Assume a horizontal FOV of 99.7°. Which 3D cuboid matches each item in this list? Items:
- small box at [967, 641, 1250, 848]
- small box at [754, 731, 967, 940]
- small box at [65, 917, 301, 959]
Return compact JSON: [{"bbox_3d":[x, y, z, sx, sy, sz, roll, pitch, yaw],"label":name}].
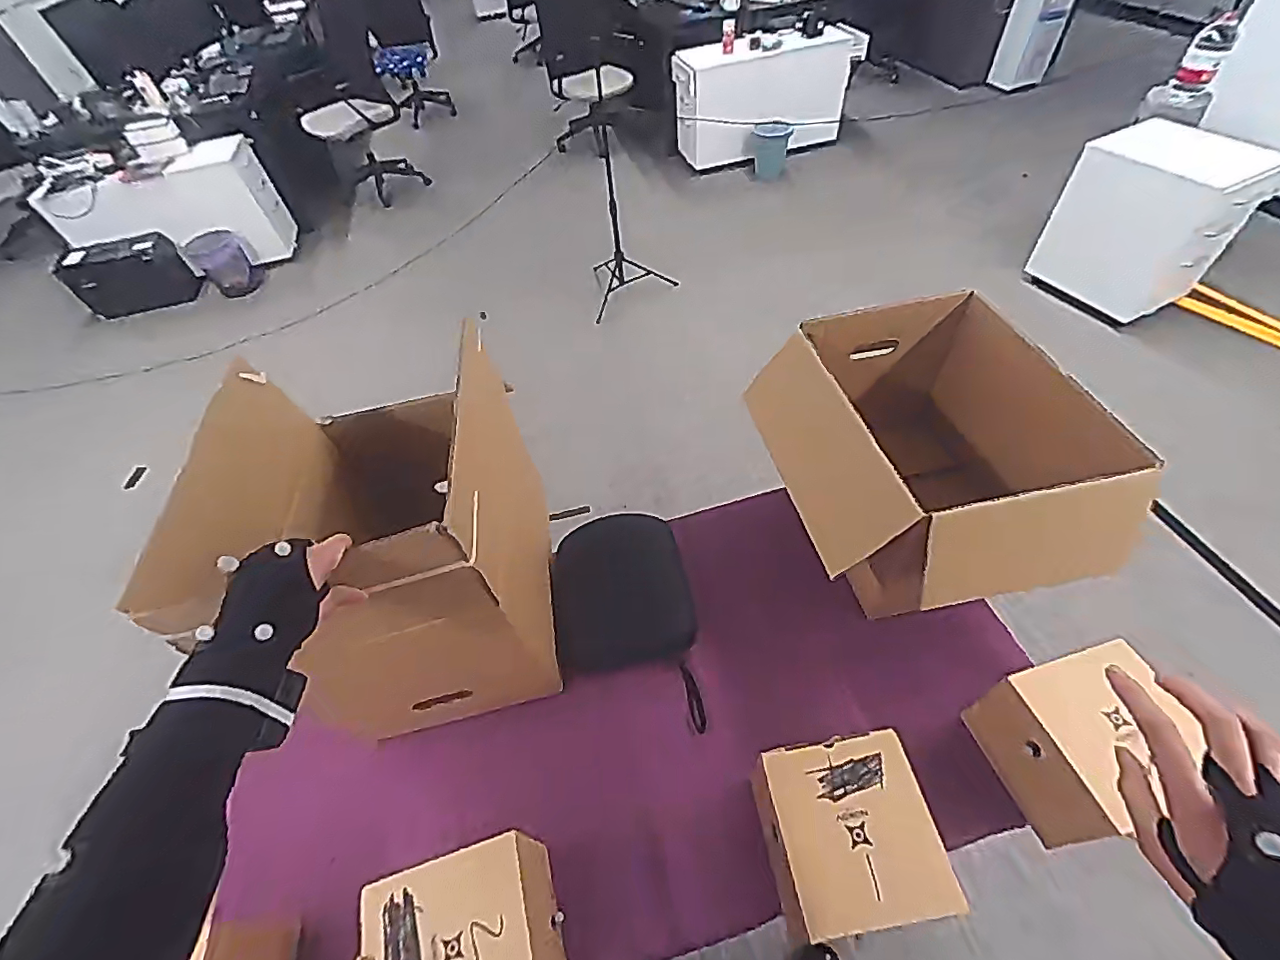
[{"bbox_3d":[0.561,0.336,0.685,0.168,0.176,0.179,-16,51,-5],"label":"small box"},{"bbox_3d":[0.242,0.427,0.652,0.168,0.176,0.179,-10,52,-1],"label":"small box"},{"bbox_3d":[-0.519,0.608,0.595,0.179,0.176,0.168,-12,51,-5],"label":"small box"}]
